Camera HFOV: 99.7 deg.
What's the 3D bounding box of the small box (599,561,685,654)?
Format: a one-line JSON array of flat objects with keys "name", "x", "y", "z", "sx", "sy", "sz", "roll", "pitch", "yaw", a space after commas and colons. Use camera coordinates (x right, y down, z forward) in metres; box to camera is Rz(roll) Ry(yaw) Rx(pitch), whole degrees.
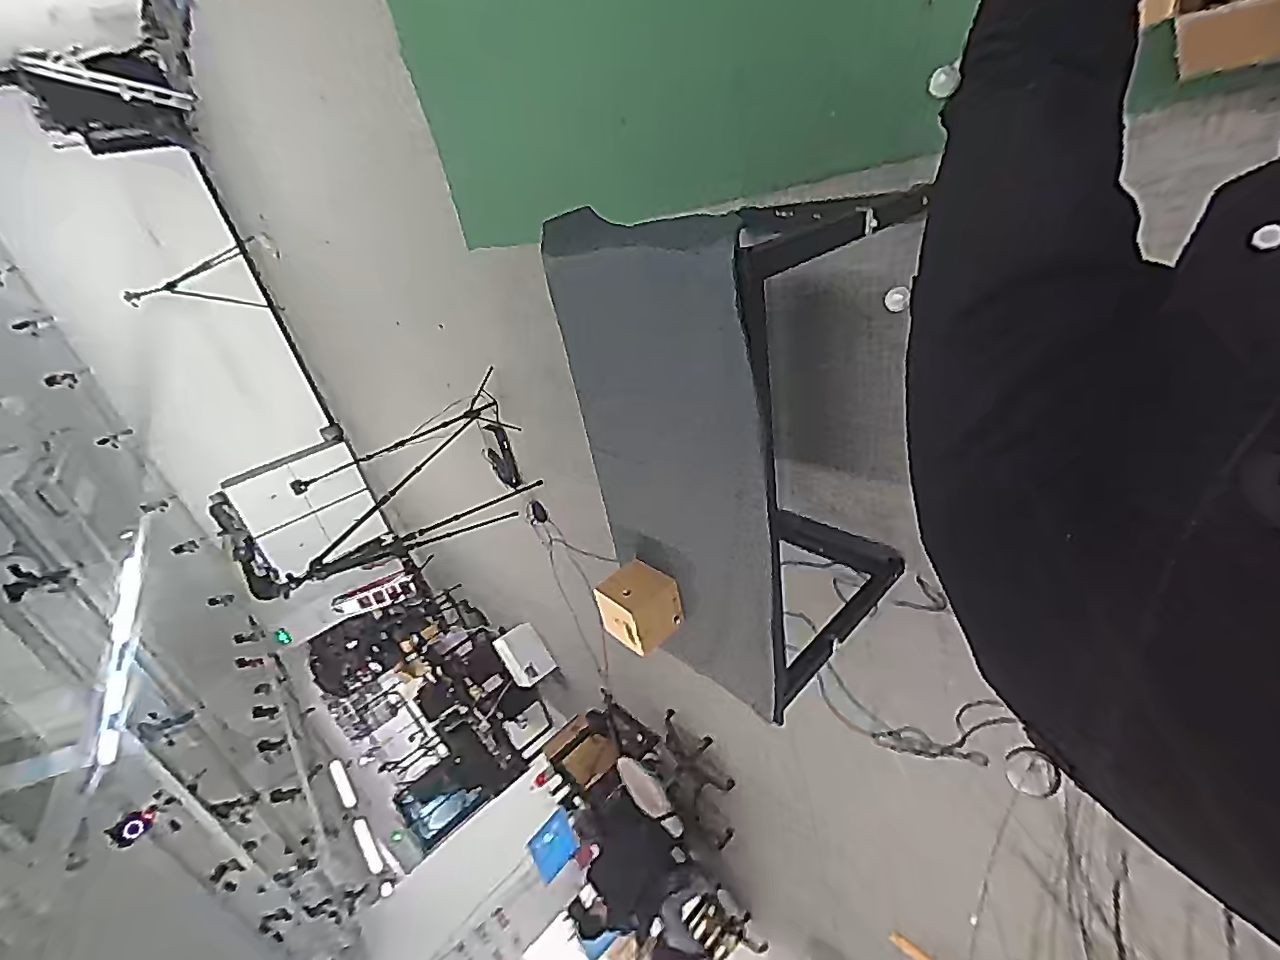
[{"name": "small box", "x": 0.015, "y": 0.359, "z": 1.560, "sx": 0.179, "sy": 0.176, "sz": 0.168, "roll": 20, "pitch": 132, "yaw": 46}]
